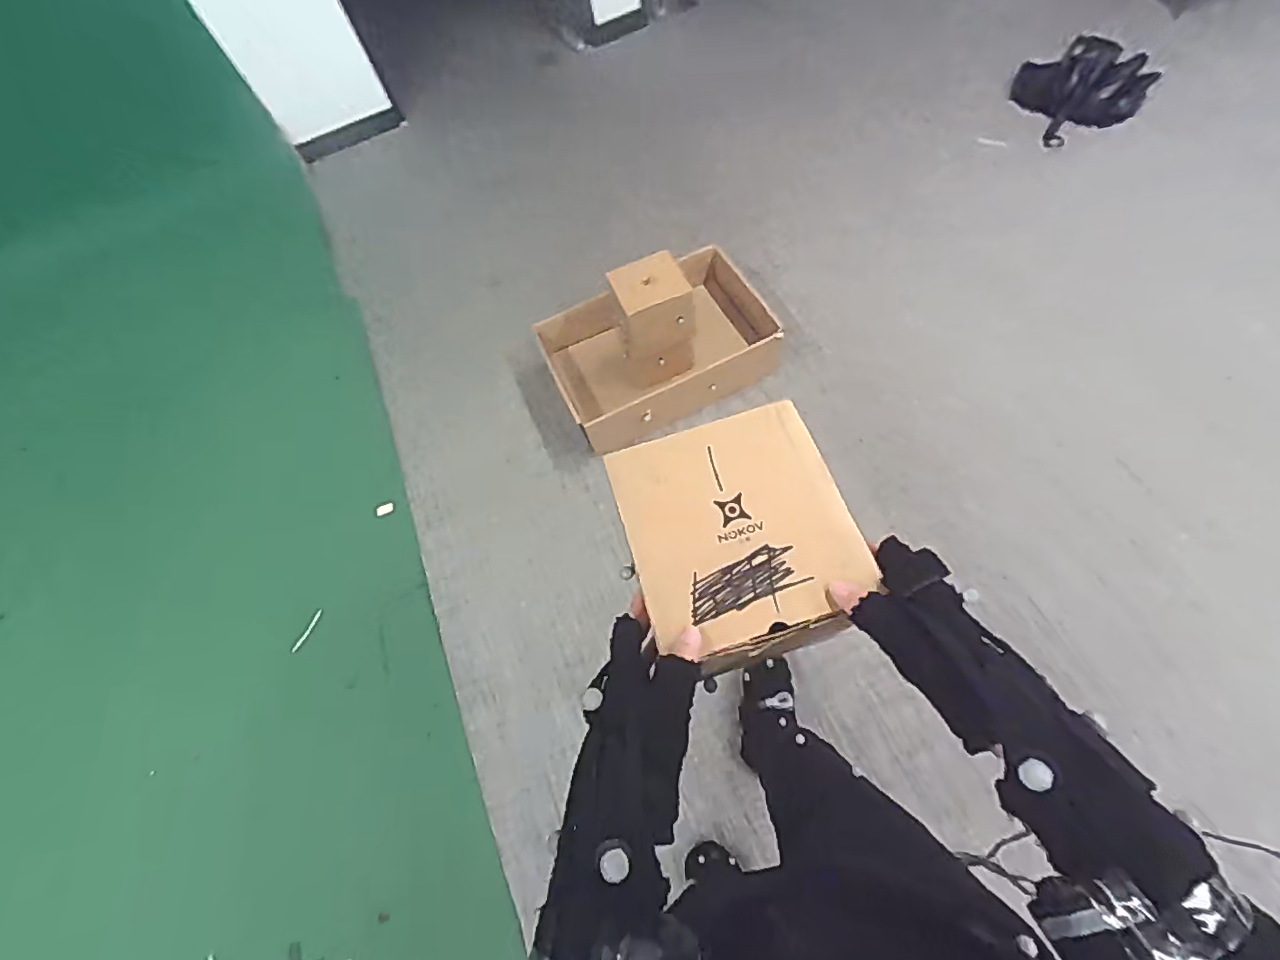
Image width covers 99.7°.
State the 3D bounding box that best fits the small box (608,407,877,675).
[{"bbox_3d":[0.081,0.067,0.491,0.168,0.176,0.179,-16,63,-2],"label":"small box"}]

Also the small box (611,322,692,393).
[{"bbox_3d":[0.039,-0.384,1.578,0.179,0.176,0.168,-27,63,-6],"label":"small box"}]

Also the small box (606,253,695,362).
[{"bbox_3d":[0.030,-0.443,1.404,0.179,0.176,0.168,-26,63,-6],"label":"small box"}]
